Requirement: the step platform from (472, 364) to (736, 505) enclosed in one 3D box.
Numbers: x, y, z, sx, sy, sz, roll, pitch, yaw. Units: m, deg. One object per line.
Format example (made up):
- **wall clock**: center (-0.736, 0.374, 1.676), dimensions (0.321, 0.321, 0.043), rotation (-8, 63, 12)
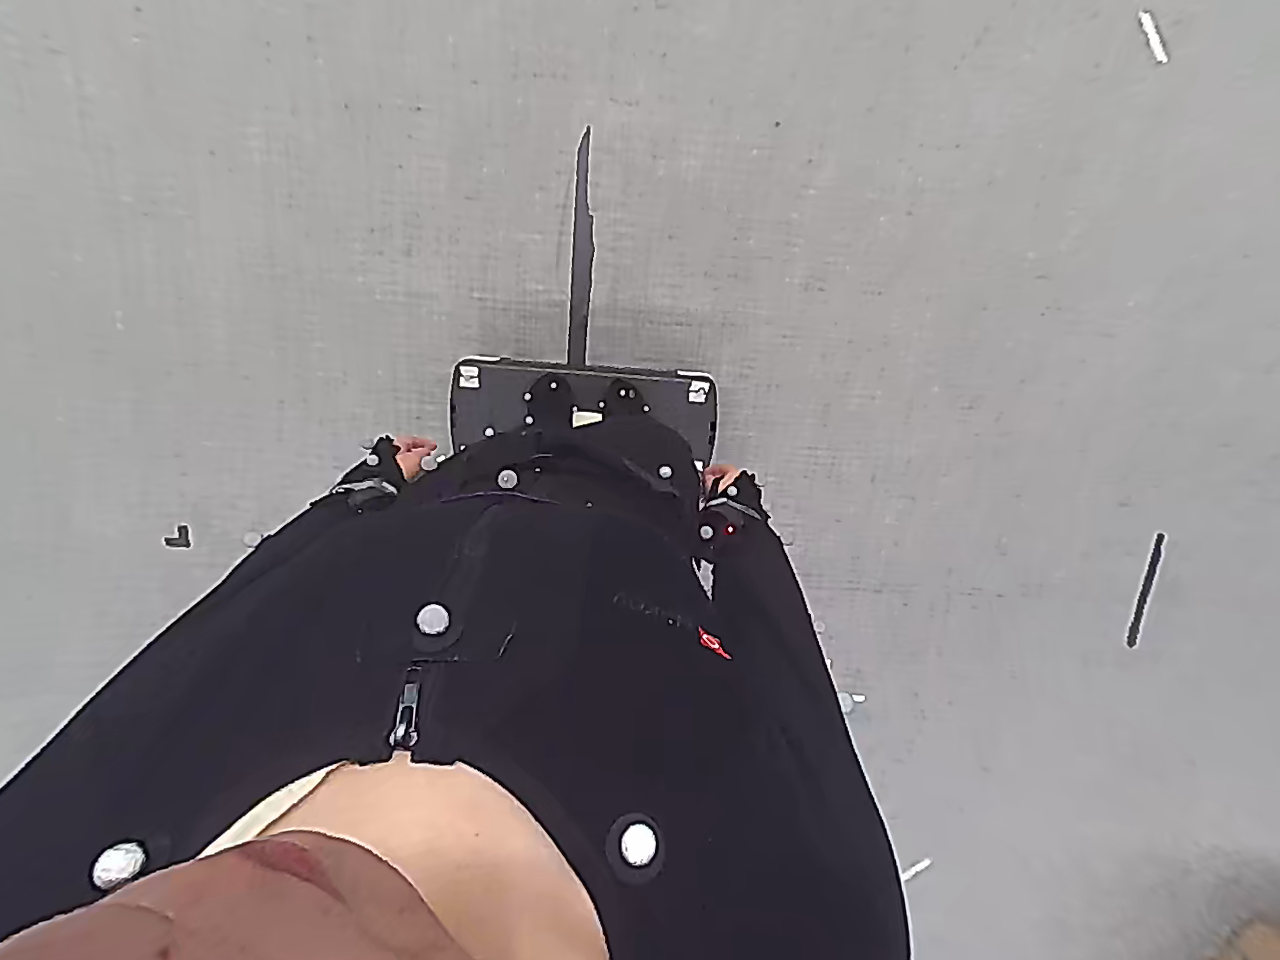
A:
- **step platform**: center (-0.093, -0.123, 1.443), dimensions (0.684, 0.204, 0.286), rotation (8, 102, -4)
